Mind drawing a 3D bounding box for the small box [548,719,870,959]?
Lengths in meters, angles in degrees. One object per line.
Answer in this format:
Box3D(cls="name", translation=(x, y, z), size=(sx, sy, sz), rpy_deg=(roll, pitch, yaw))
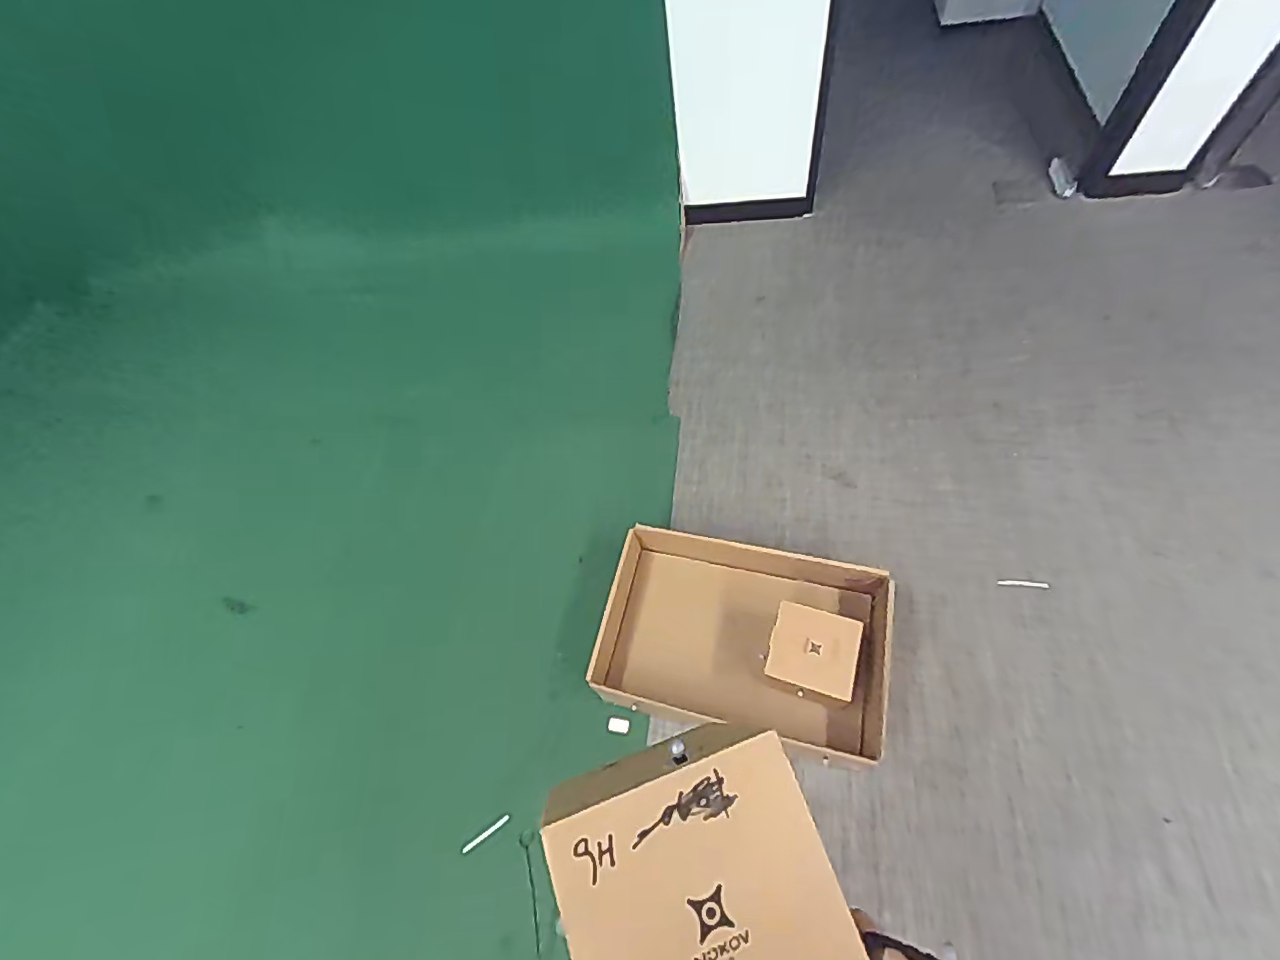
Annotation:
Box3D(cls="small box", translation=(0.037, 0.294, 0.398), size=(0.168, 0.176, 0.179), rpy_deg=(-16, 72, -14))
